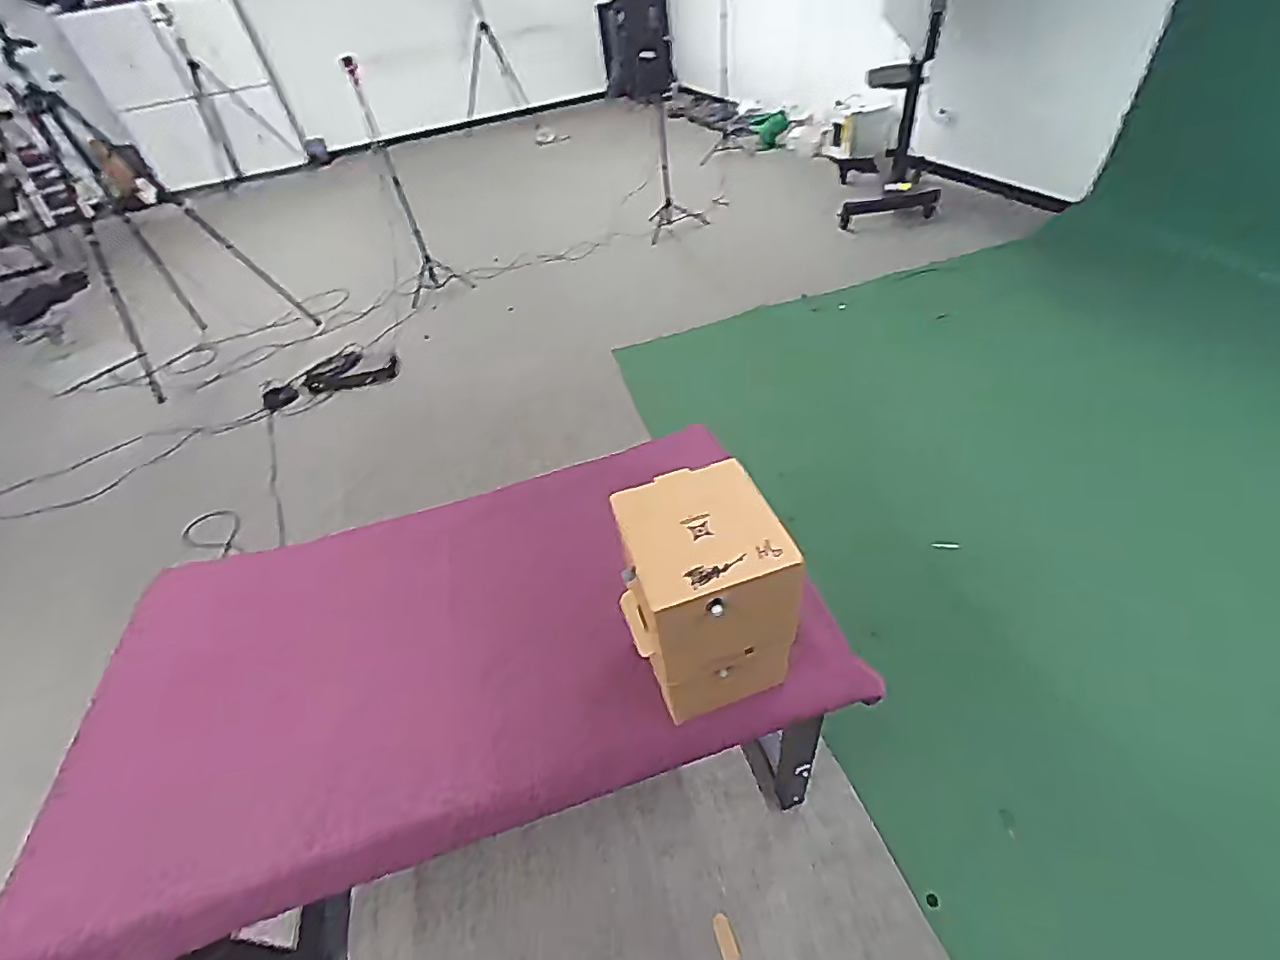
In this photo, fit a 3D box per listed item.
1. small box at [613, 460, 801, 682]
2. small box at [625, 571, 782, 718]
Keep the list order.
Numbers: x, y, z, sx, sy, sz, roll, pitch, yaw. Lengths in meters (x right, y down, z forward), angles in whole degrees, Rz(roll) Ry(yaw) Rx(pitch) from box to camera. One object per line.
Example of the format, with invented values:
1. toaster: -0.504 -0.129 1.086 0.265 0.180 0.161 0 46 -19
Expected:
1. small box: 0.077 0.109 0.658 0.168 0.176 0.179 -18 43 -6
2. small box: 0.096 0.214 0.784 0.179 0.176 0.168 -19 45 -8
